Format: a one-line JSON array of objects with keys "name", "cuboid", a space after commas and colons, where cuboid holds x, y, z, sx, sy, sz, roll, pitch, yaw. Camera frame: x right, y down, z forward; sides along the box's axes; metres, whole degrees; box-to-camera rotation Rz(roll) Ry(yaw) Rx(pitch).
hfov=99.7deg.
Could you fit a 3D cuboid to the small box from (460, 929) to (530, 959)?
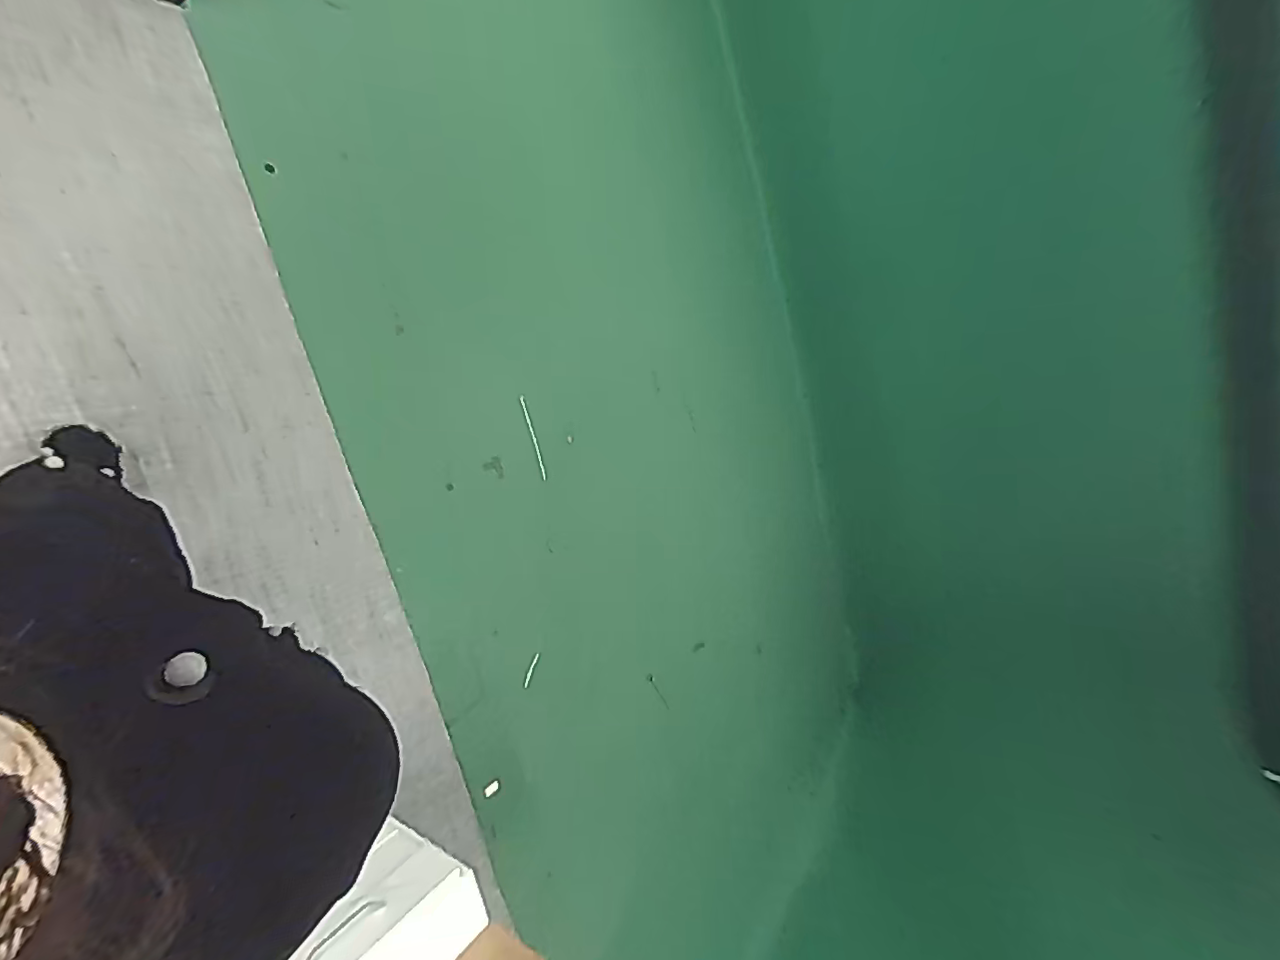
[{"name": "small box", "cuboid": [-0.257, 0.934, 0.923, 0.179, 0.176, 0.168, -25, 104, -48]}]
